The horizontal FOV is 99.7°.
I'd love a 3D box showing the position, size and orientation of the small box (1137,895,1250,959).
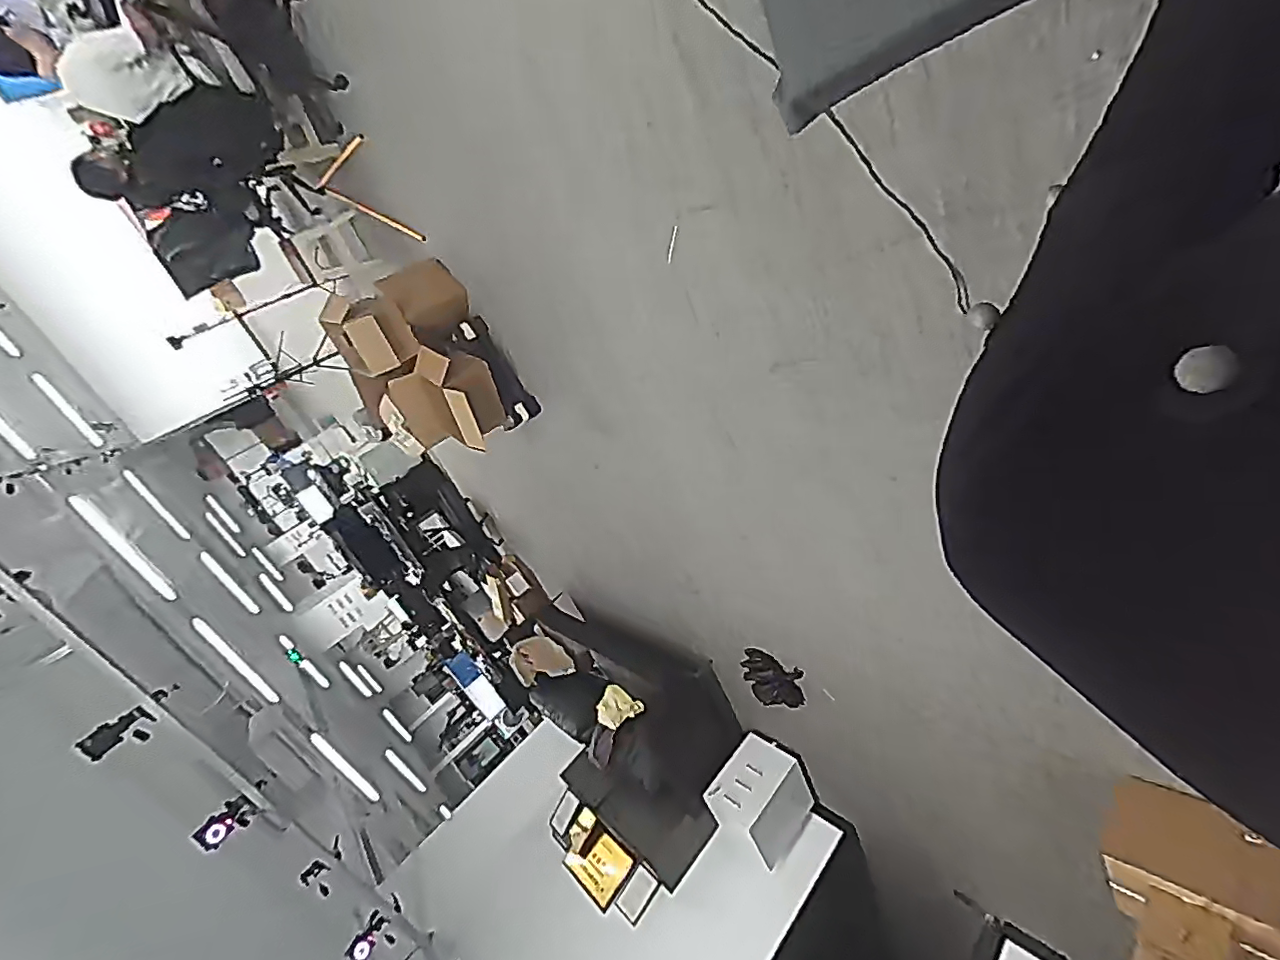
[{"bbox_3d":[1.549,1.318,1.513,0.168,0.176,0.179,58,152,-13],"label":"small box"}]
